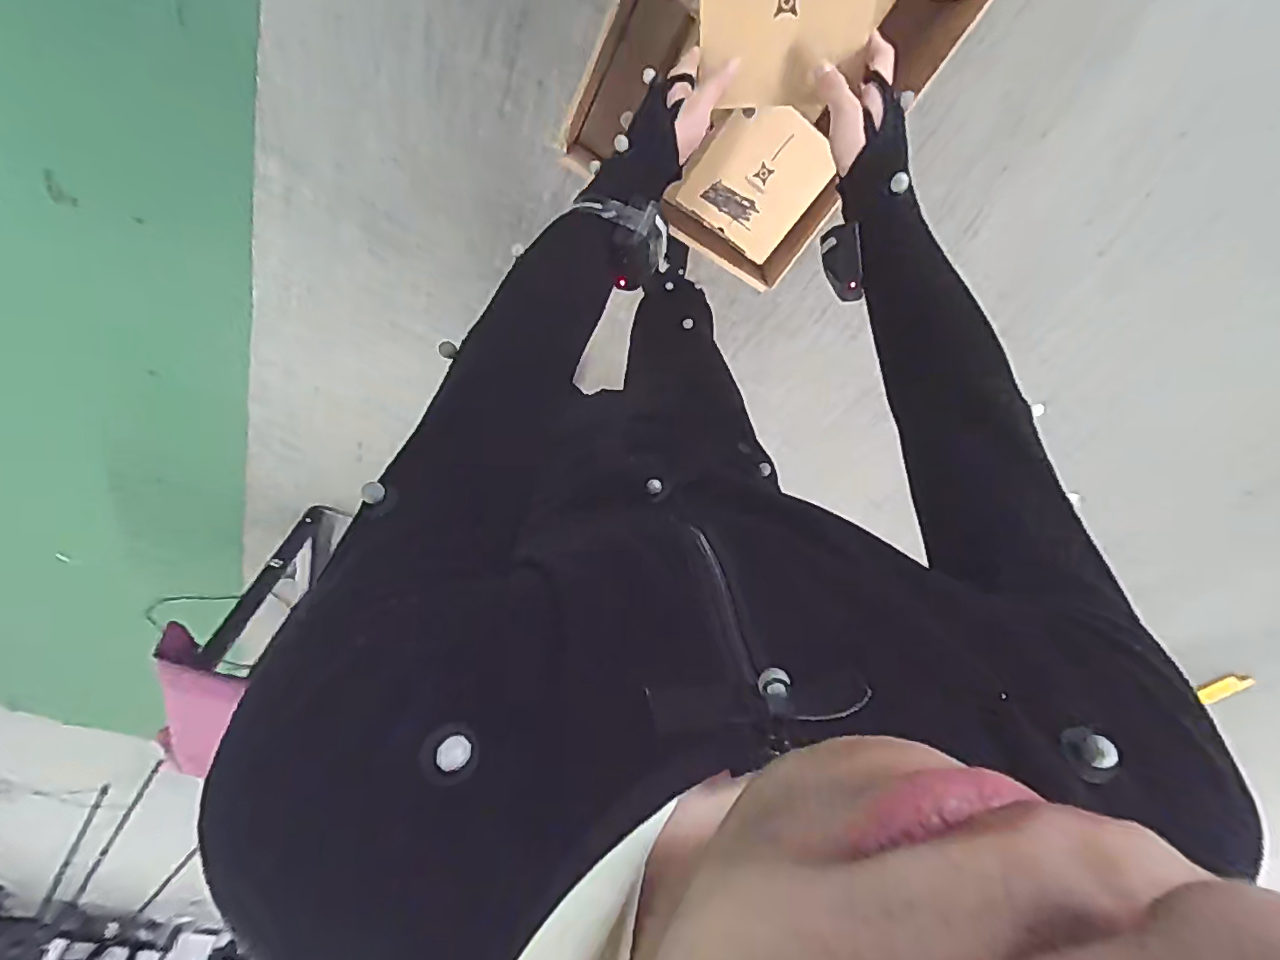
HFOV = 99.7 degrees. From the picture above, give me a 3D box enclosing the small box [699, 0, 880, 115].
[{"bbox_3d":[0.147,-0.495,0.562,0.168,0.176,0.179,1,127,6],"label":"small box"}]
